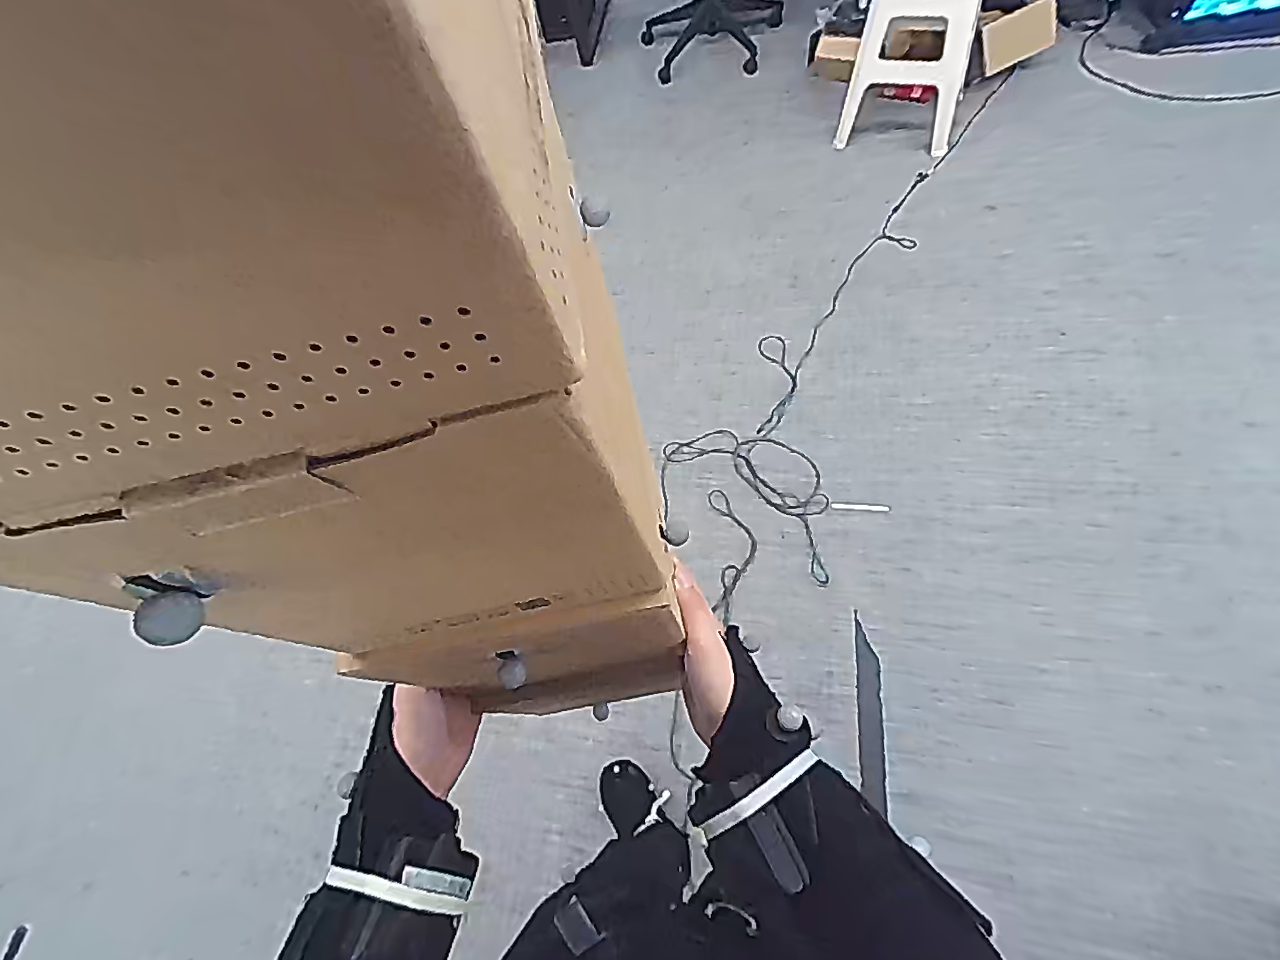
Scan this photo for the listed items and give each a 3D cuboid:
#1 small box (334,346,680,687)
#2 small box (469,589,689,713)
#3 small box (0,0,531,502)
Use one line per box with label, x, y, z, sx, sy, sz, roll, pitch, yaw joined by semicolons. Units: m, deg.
small box;-0.072;0.040;0.374;0.179;0.176;0.168;-13;64;4
small box;-0.052;0.116;0.516;0.168;0.176;0.179;-12;65;4
small box;-0.123;-0.107;0.083;0.179;0.176;0.168;-12;63;4
